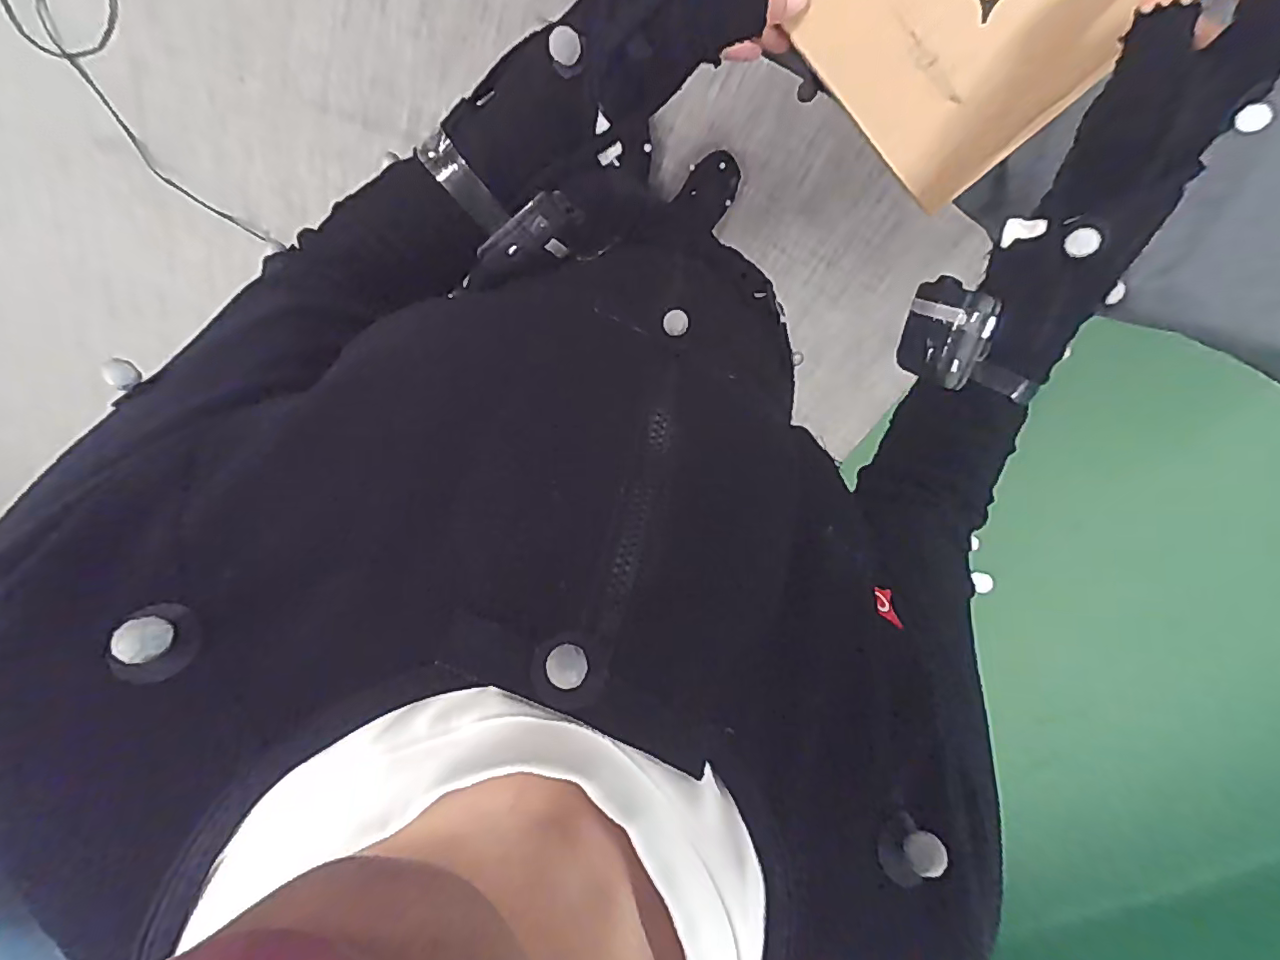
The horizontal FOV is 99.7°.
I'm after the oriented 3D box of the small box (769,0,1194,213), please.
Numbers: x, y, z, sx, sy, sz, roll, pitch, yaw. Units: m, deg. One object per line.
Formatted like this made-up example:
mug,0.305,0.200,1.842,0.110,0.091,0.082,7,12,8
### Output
small box,0.196,-0.317,0.338,0.168,0.176,0.179,37,129,-21
